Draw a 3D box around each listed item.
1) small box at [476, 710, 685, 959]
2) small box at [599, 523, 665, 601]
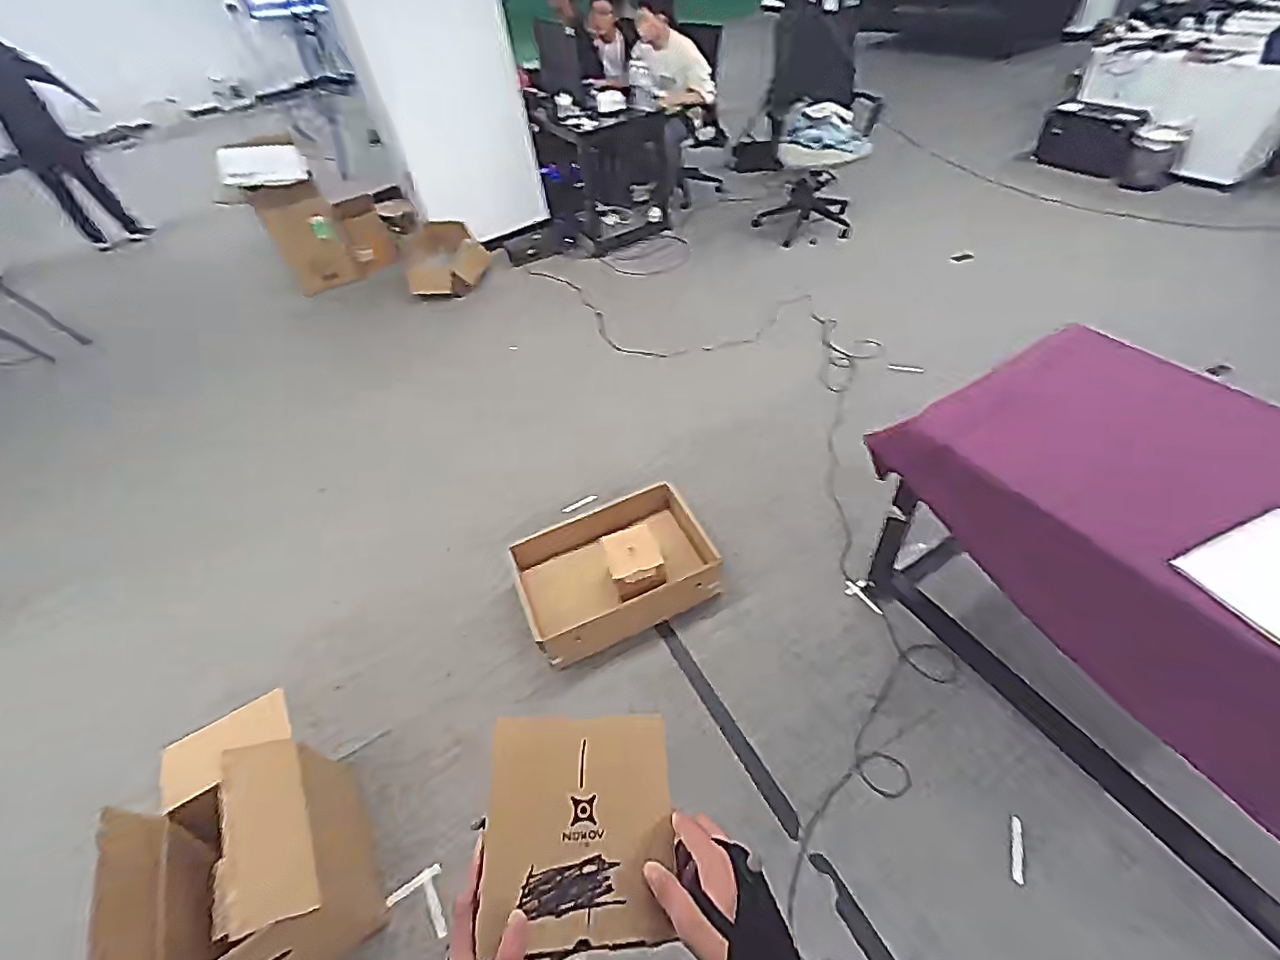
[{"bbox_3d":[-0.062,0.336,0.528,0.168,0.176,0.179,6,53,-12],"label":"small box"},{"bbox_3d":[-0.024,0.275,1.769,0.168,0.176,0.179,-17,48,-6],"label":"small box"}]
